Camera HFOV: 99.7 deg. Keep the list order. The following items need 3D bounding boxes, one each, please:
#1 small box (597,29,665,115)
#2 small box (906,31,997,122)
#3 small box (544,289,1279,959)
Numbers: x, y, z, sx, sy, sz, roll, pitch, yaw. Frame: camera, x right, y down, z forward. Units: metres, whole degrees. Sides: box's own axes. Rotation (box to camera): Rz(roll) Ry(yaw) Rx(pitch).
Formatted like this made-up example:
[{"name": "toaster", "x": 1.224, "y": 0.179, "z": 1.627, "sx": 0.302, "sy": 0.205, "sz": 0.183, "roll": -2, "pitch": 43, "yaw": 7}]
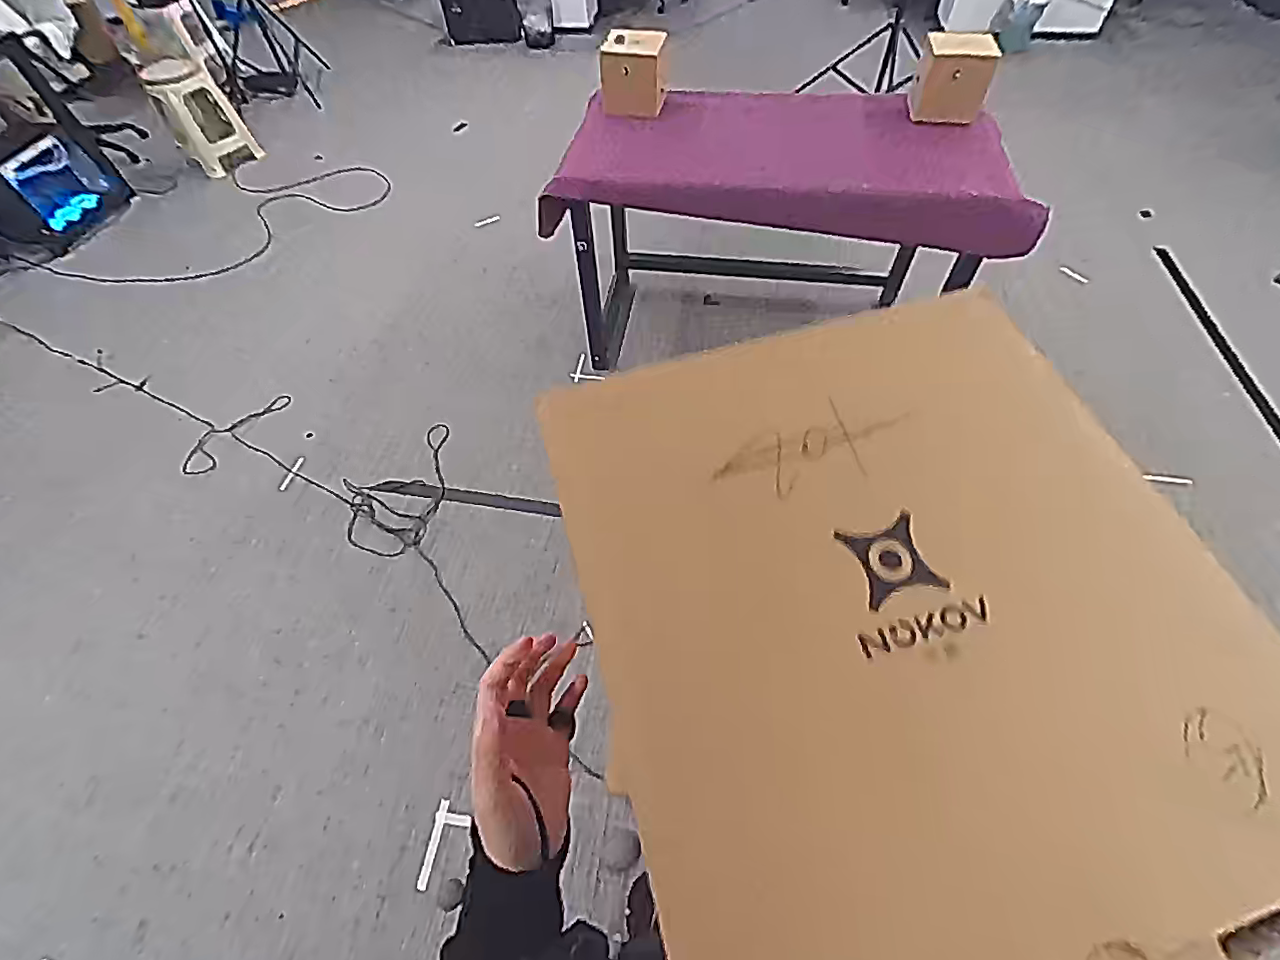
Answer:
[{"name": "small box", "x": -0.023, "y": -1.256, "z": 1.667, "sx": 0.179, "sy": 0.176, "sz": 0.168, "roll": 10, "pitch": 58, "yaw": 7}, {"name": "small box", "x": 0.890, "y": -1.166, "z": 1.565, "sx": 0.179, "sy": 0.176, "sz": 0.168, "roll": 8, "pitch": 57, "yaw": 7}, {"name": "small box", "x": 0.071, "y": 0.062, "z": 0.215, "sx": 0.168, "sy": 0.176, "sz": 0.179, "roll": -15, "pitch": 61, "yaw": -8}]
